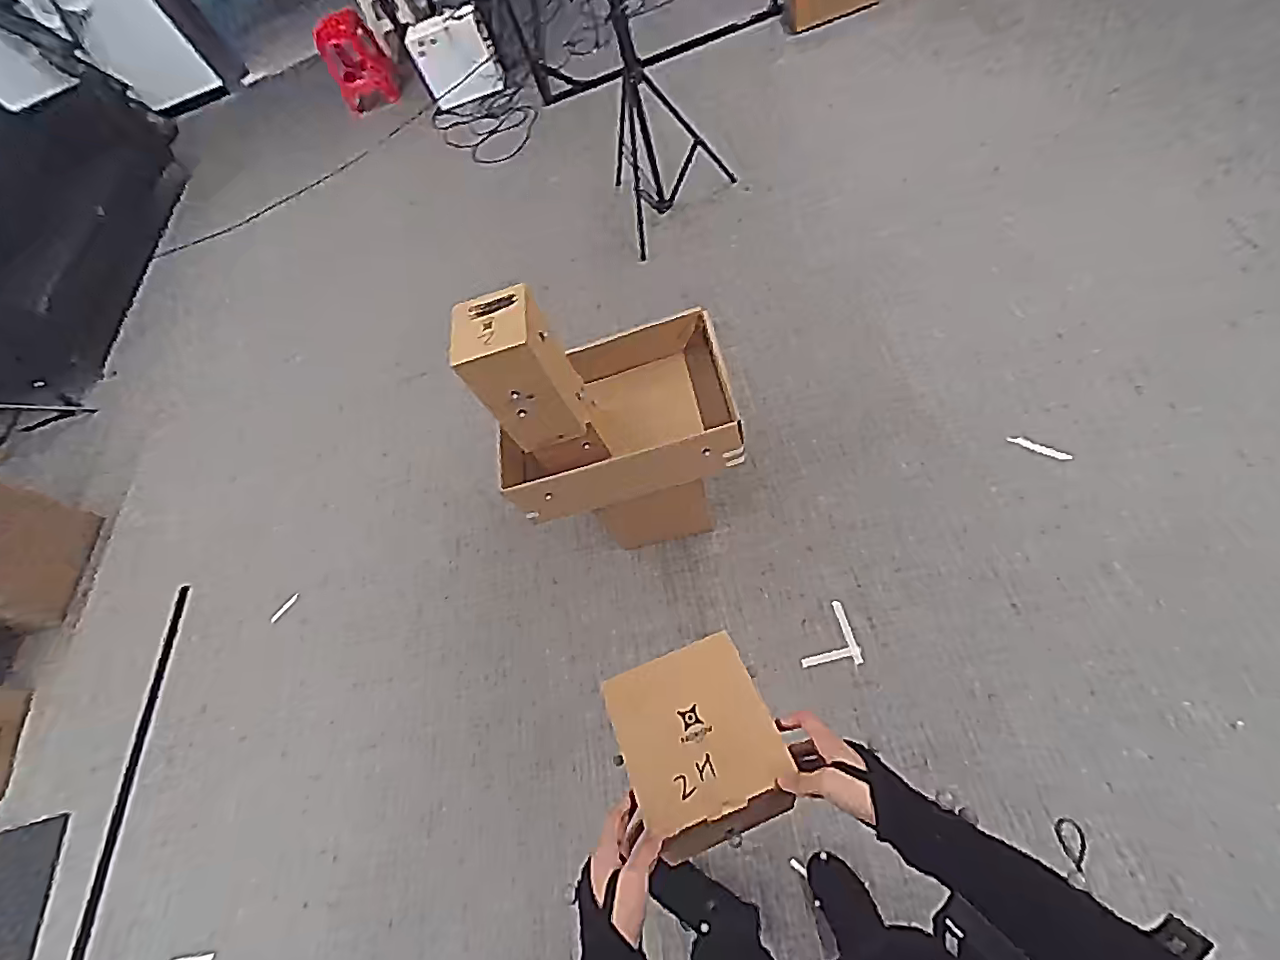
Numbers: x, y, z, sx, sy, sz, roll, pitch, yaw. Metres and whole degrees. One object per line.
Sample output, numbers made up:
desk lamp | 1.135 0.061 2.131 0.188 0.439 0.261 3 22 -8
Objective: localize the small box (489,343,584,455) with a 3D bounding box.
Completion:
small box | -0.243 -0.188 1.290 0.168 0.176 0.179 -16 57 9

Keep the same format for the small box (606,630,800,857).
small box | 0.071 0.317 0.648 0.168 0.176 0.179 -20 49 -6

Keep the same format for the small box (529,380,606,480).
small box | -0.201 -0.128 1.436 0.179 0.176 0.168 -21 57 7
